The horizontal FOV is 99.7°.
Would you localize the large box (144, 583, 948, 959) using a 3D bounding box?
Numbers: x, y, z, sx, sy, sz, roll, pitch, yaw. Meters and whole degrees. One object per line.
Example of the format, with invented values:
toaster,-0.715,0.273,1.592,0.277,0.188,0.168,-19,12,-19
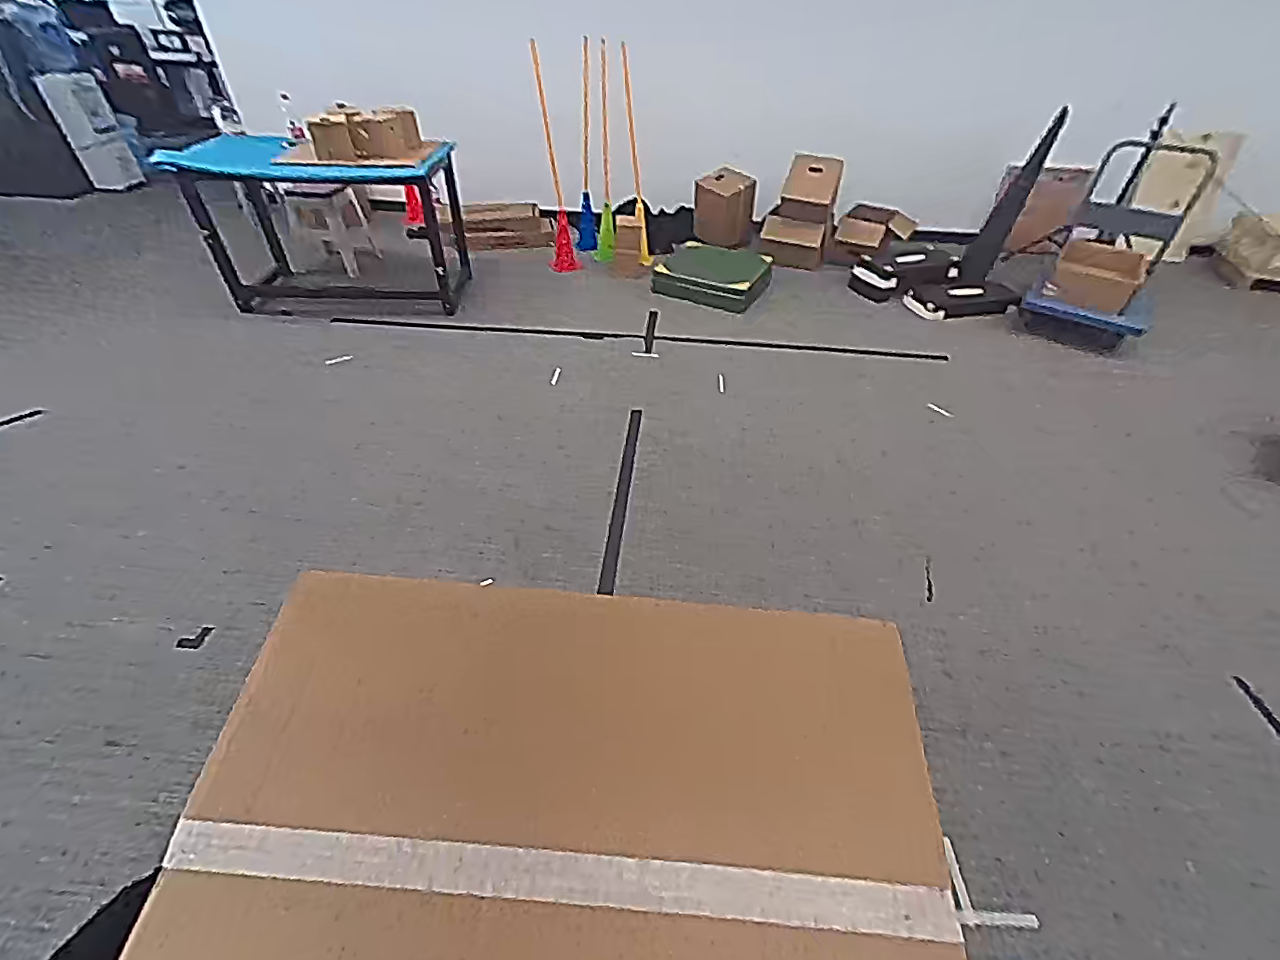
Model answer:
large box,-0.046,0.296,0.409,0.408,0.320,0.320,5,55,1
